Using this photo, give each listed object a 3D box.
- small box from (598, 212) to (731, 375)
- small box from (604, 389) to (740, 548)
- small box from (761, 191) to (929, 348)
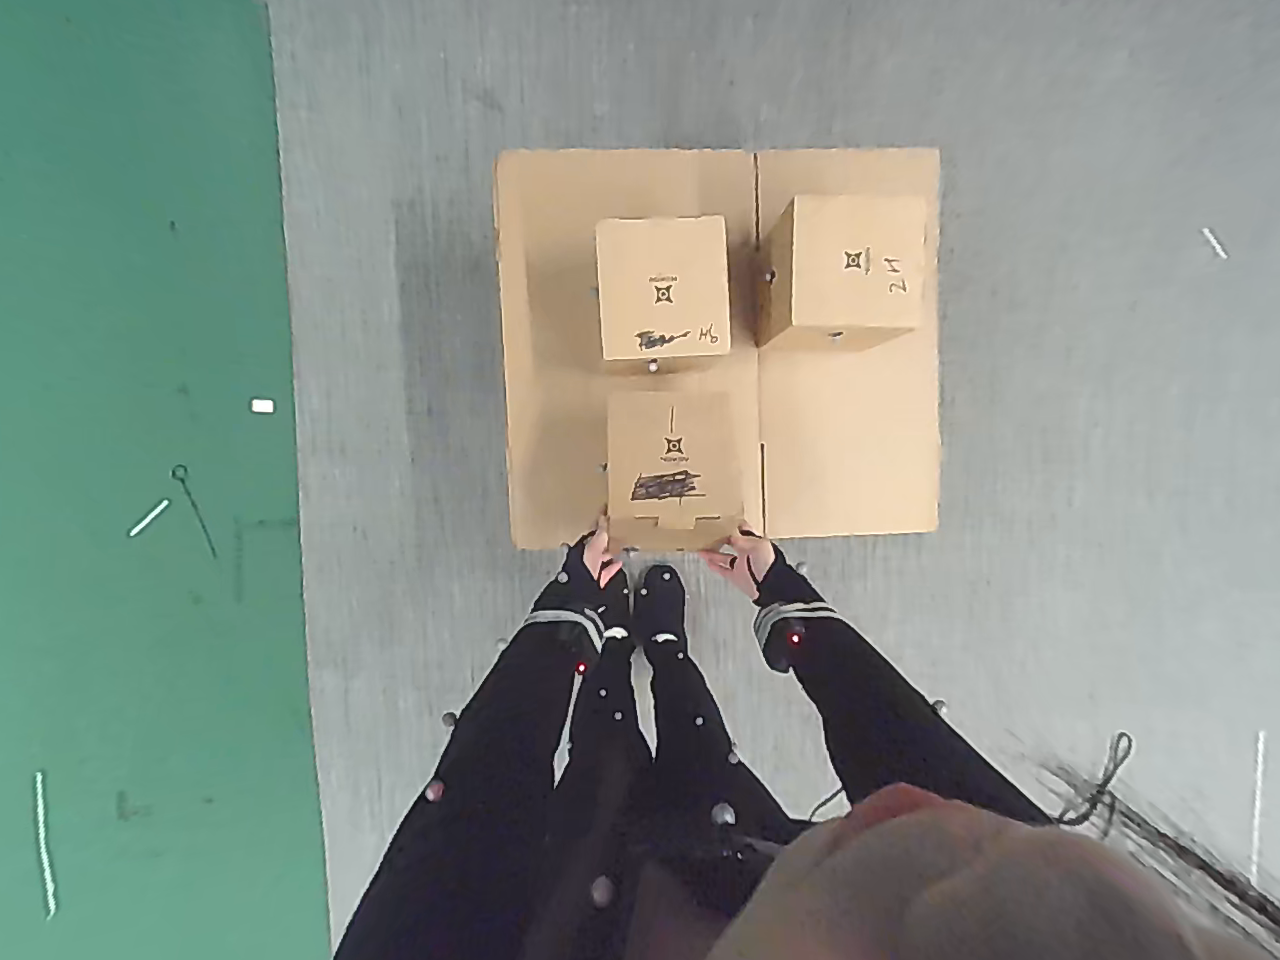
[{"bbox_3d":[0.026,-0.250,0.756,0.168,0.176,0.179,-3,93,-2],"label":"small box"},{"bbox_3d":[0.036,-0.007,0.744,0.168,0.176,0.179,0,68,-3],"label":"small box"},{"bbox_3d":[0.276,-0.286,0.767,0.179,0.176,0.168,1,94,-2],"label":"small box"}]
